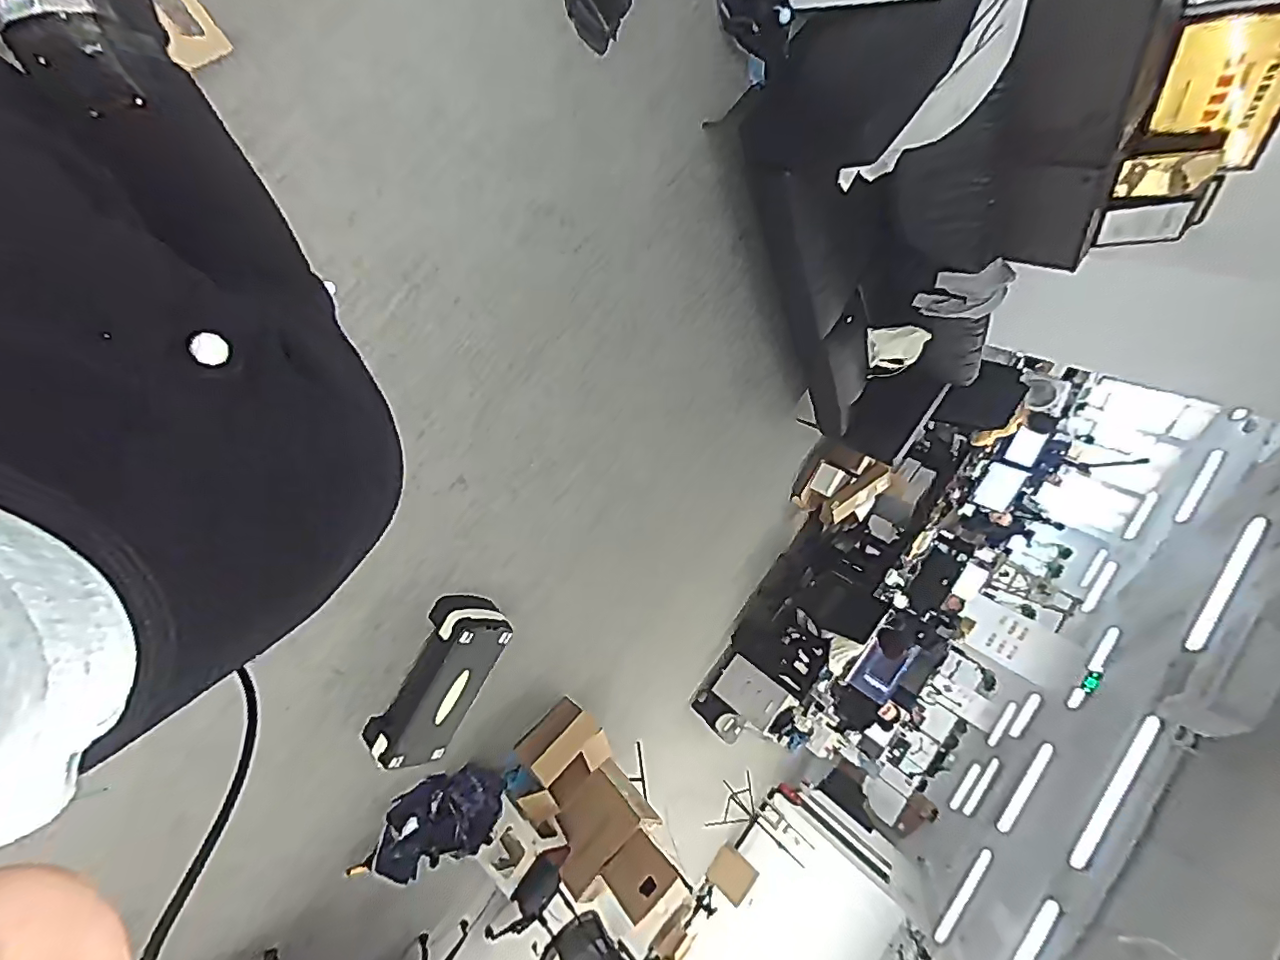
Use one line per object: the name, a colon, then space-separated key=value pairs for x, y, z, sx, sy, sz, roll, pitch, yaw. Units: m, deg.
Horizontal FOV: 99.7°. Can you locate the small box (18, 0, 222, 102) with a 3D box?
small box: x=-0.809 y=-0.715 z=0.834 sx=0.179 sy=0.176 sz=0.168 roll=-45 pitch=142 yaw=-19

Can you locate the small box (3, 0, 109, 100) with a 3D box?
small box: x=-0.927 y=-0.784 z=0.927 sx=0.179 sy=0.176 sz=0.168 roll=-46 pitch=142 yaw=-17
